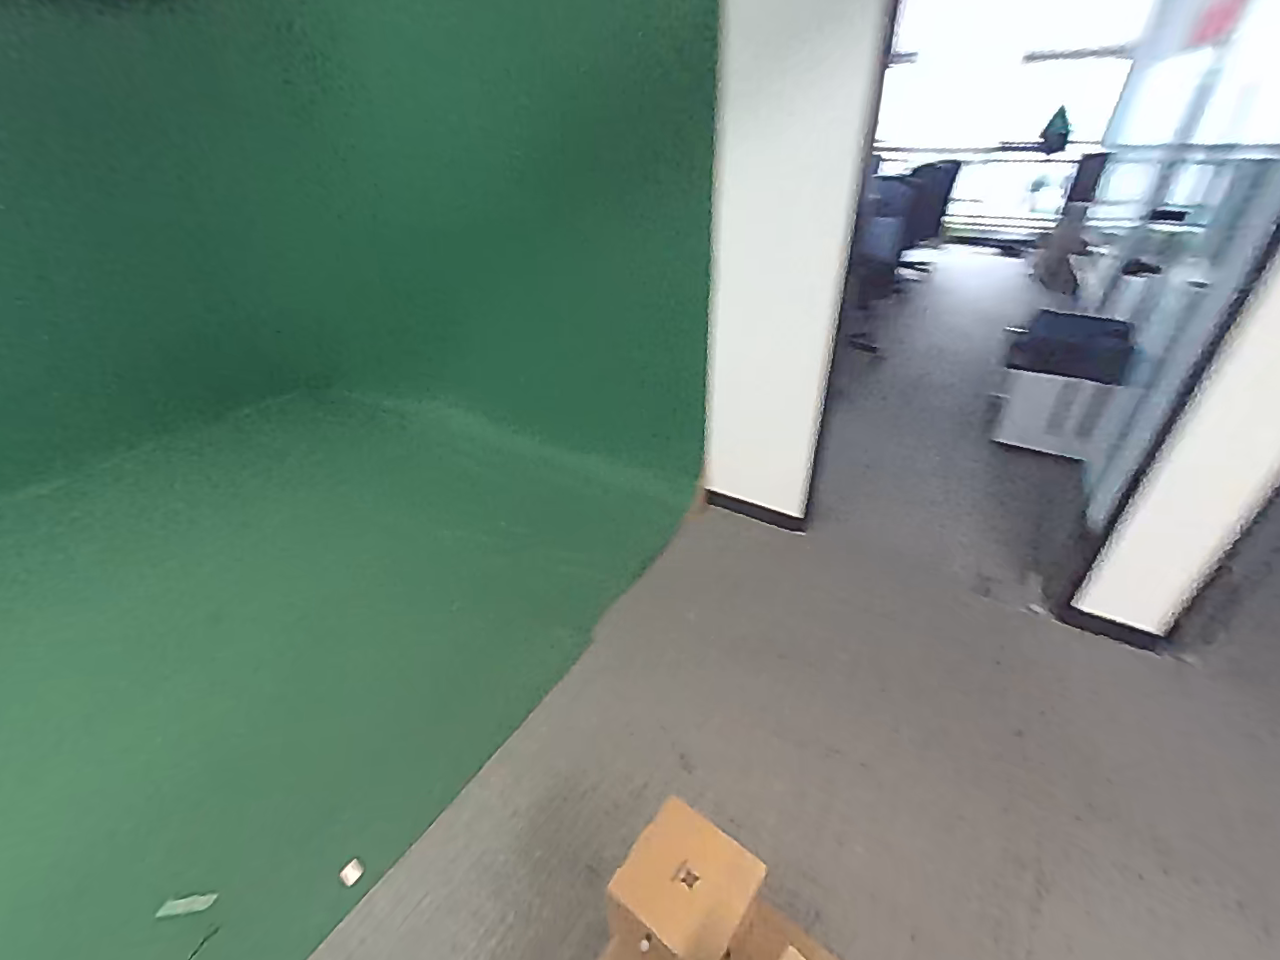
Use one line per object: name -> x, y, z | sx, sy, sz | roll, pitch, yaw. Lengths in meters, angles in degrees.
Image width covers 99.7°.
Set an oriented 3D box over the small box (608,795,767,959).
small box -> 0.072, 0.641, 0.828 | 0.179, 0.176, 0.168 | 23, 40, 32
